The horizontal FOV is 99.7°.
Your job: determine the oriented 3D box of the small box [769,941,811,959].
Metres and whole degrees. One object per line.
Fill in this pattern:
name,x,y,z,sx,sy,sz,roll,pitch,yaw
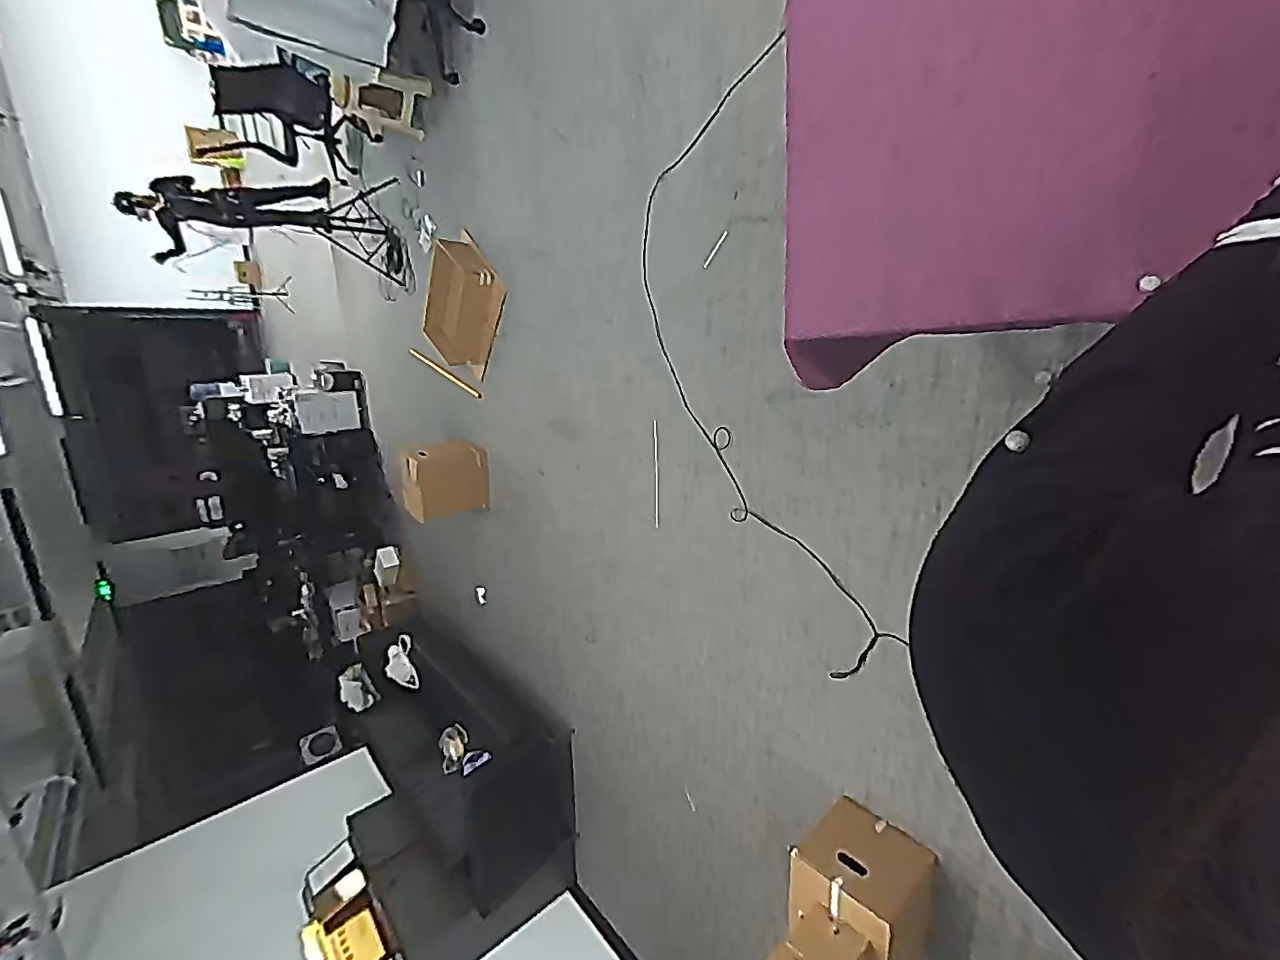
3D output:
small box,0.411,1.392,1.429,0.168,0.176,0.179,2,101,49
